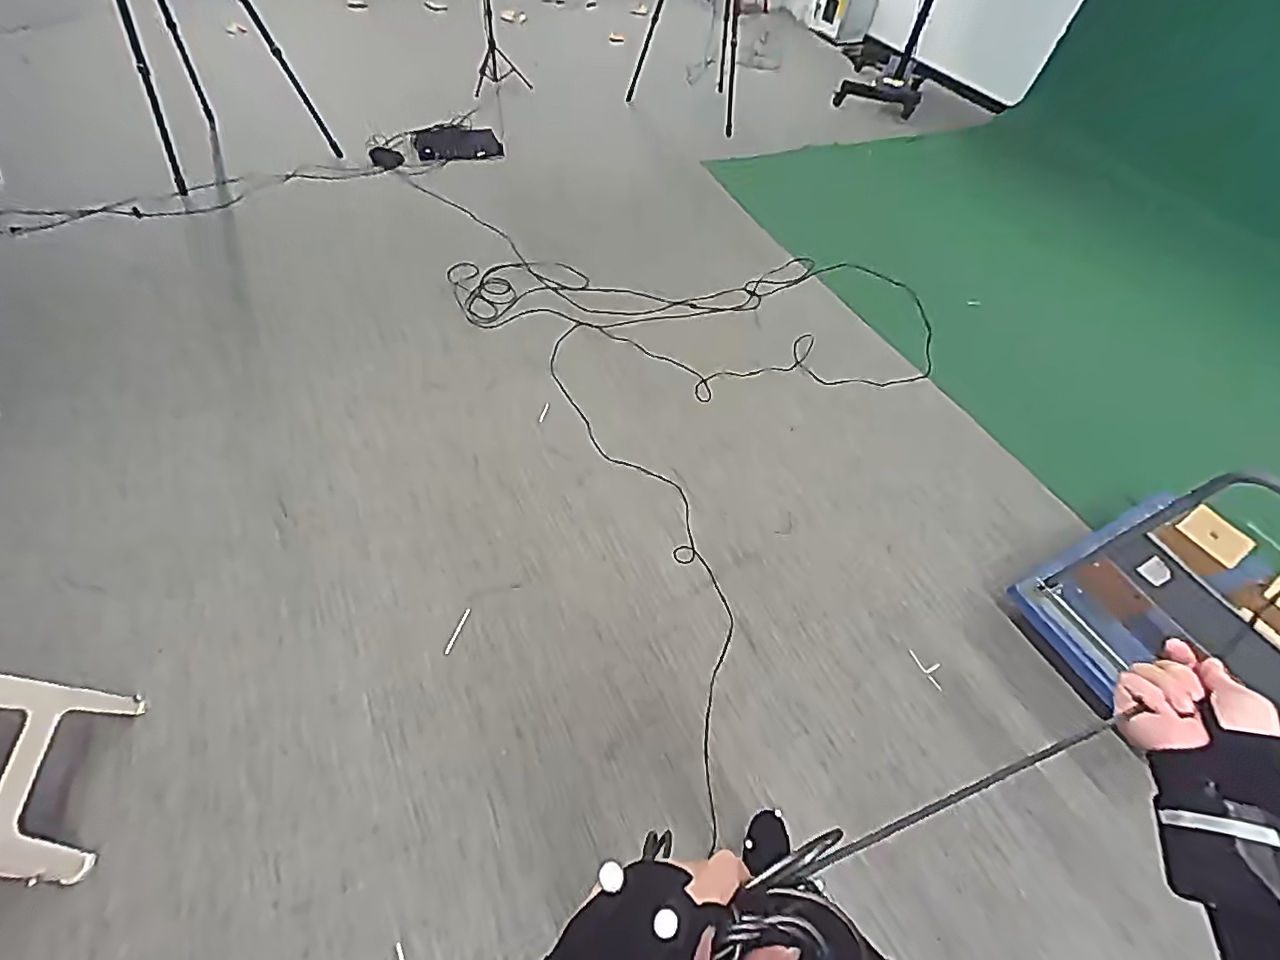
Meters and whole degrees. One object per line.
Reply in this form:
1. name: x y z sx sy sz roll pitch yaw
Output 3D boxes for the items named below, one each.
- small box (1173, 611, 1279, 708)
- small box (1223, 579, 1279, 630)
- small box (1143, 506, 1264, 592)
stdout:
1. small box: 1.615 0.486 1.455 0.179 0.176 0.168 -20 58 -19
2. small box: 1.852 0.394 1.546 0.179 0.176 0.168 -25 59 -21
3. small box: 1.718 0.217 1.663 0.179 0.176 0.168 -24 60 -22
